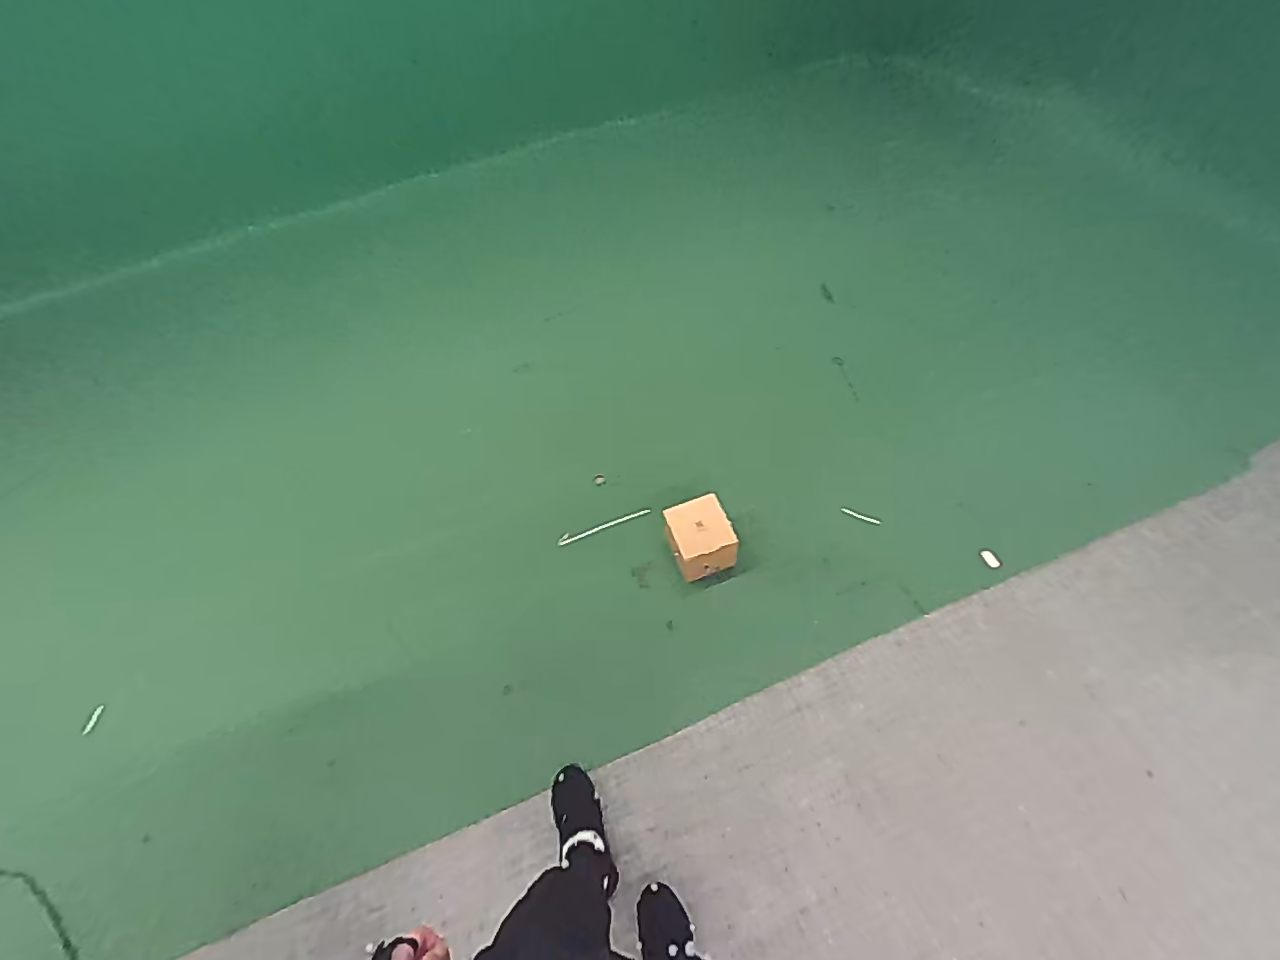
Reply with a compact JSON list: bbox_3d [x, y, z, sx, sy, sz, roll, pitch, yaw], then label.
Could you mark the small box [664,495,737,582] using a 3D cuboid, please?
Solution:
[{"bbox_3d":[0.177,0.180,1.633,0.168,0.176,0.179,-20,59,-7],"label":"small box"}]
